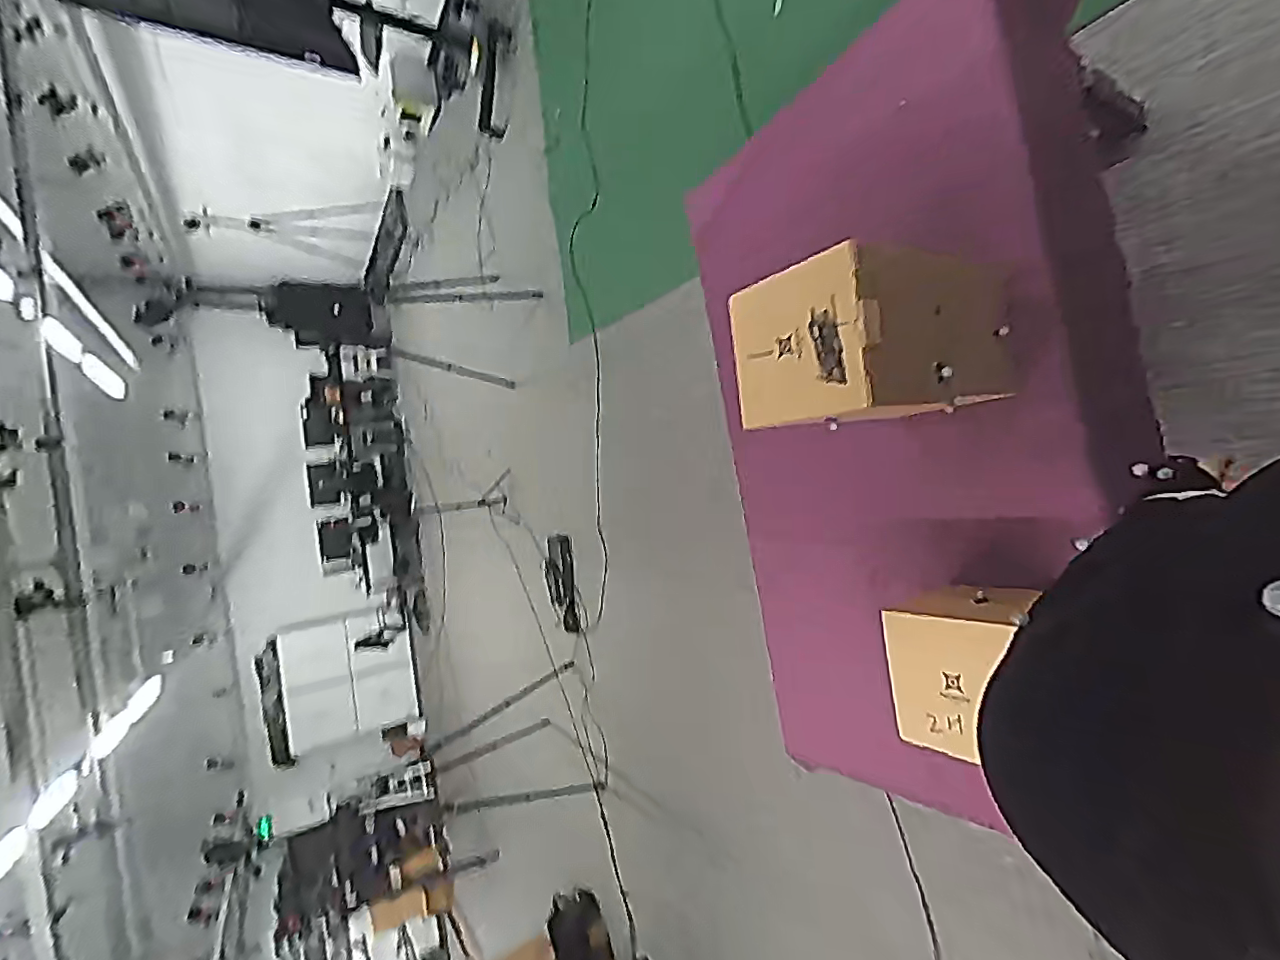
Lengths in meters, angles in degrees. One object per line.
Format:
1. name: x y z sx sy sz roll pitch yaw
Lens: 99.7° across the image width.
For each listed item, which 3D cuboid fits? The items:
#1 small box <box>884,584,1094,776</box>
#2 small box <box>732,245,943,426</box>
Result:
1. small box: 0.450 0.239 0.702 0.168 0.176 0.179 -10 87 58
2. small box: 0.238 -0.160 0.648 0.179 0.176 0.168 -5 92 58
